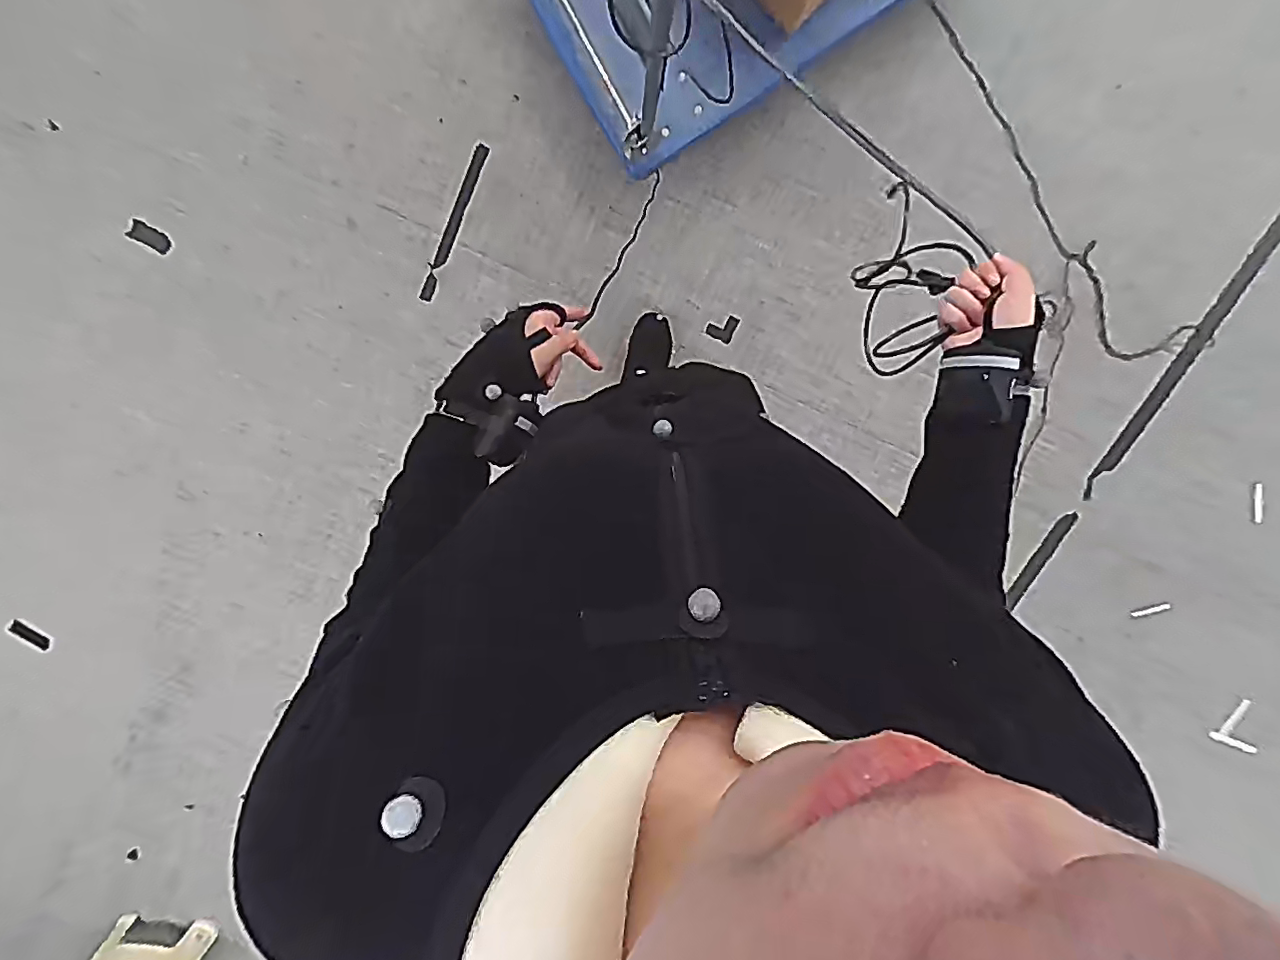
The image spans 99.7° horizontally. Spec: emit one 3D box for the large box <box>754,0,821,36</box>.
[{"bbox_3d":[0.258,-1.091,0.891,0.408,0.320,0.320,43,102,-10],"label":"large box"}]
